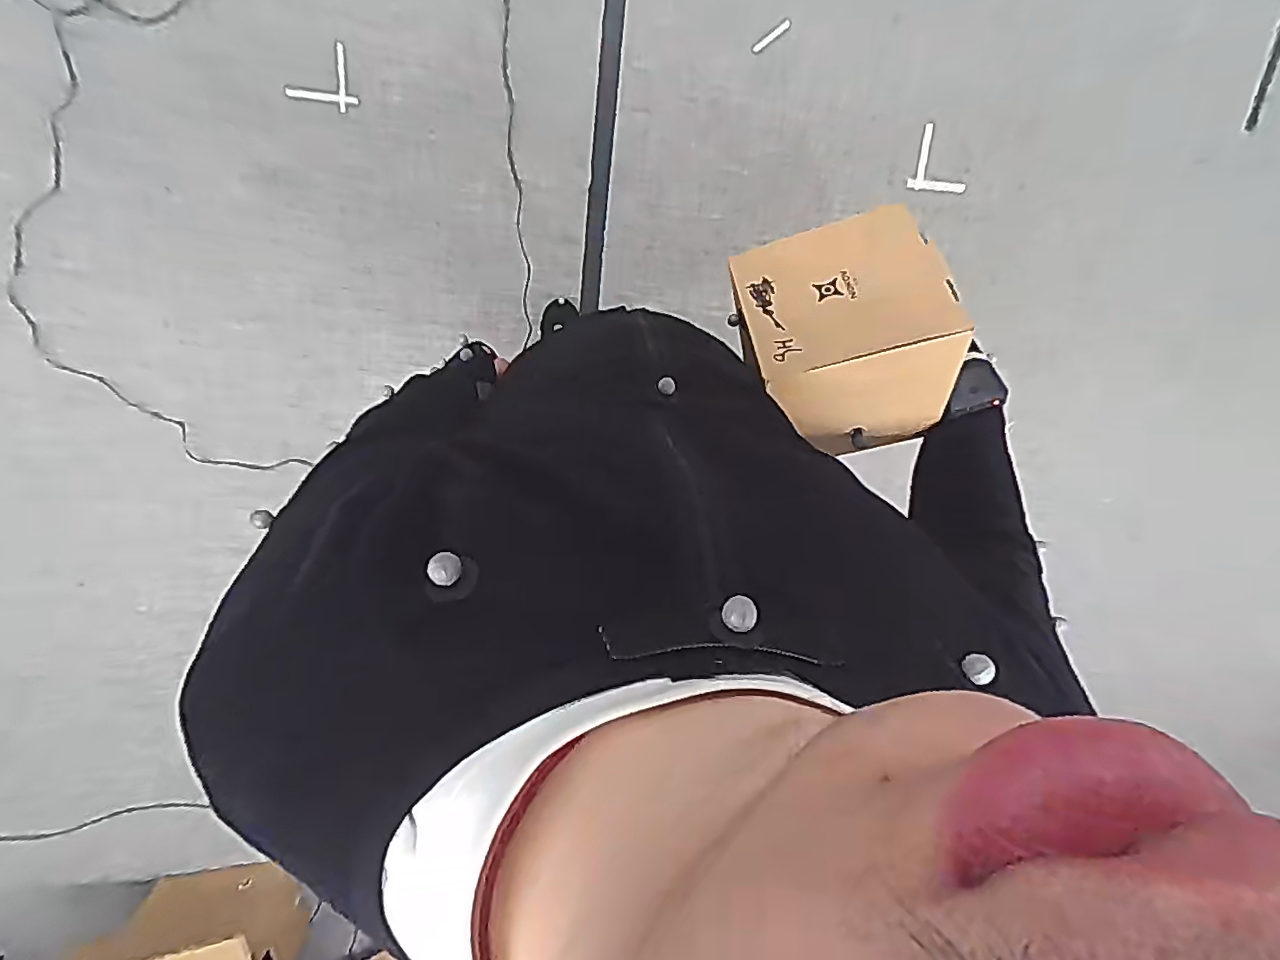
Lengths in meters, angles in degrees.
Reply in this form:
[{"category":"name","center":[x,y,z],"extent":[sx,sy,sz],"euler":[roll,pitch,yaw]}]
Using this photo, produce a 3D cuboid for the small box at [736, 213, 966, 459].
[{"category":"small box","center":[0.209,-0.143,0.582],"extent":[0.179,0.168,0.176],"euler":[-12,150,10]}]
